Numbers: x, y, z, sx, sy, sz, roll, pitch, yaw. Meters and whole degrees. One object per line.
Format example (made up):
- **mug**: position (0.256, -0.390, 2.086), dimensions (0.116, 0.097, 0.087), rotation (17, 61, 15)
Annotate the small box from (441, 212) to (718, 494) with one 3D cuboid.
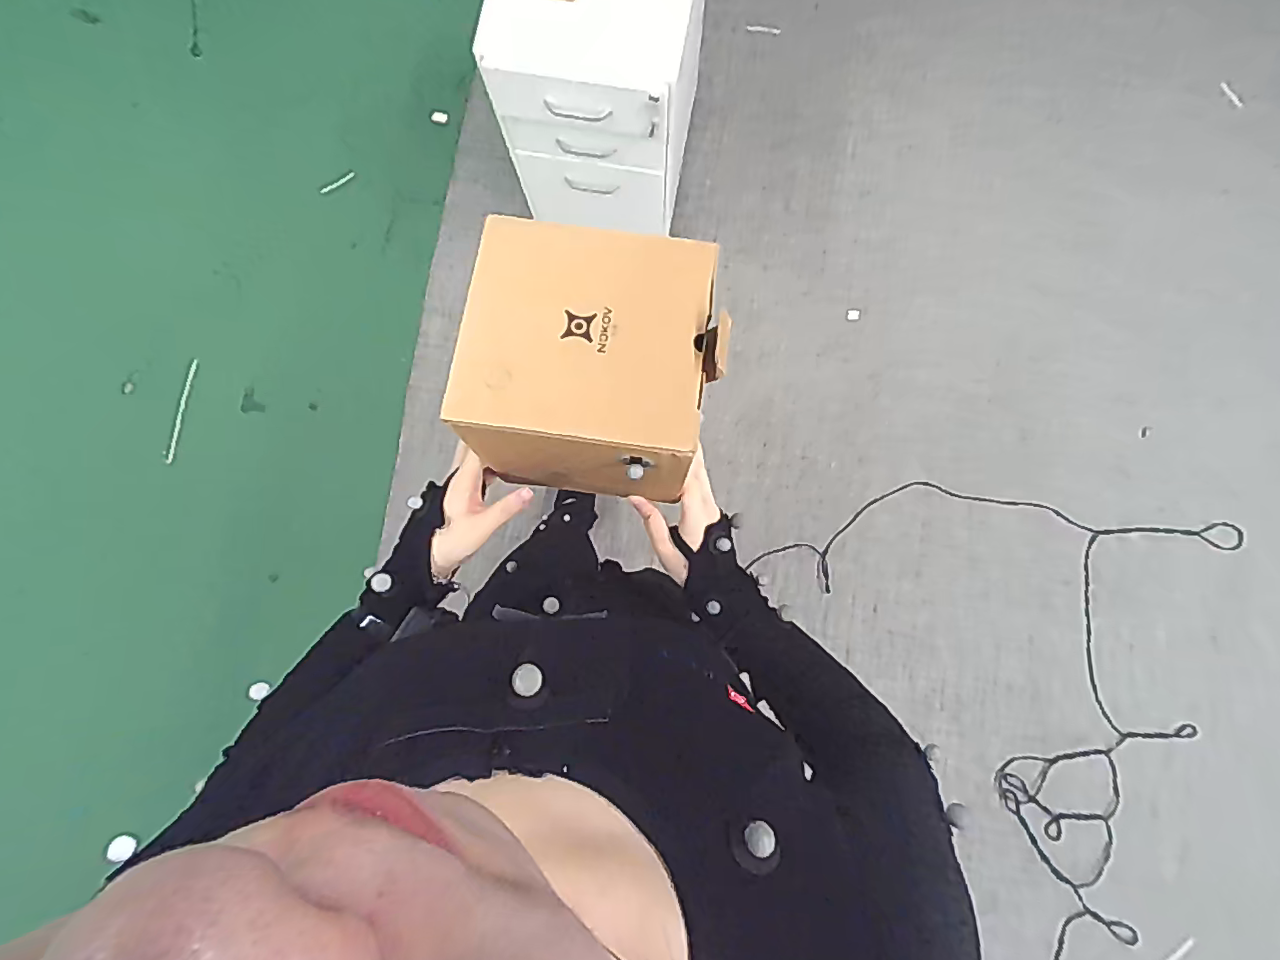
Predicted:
- **small box**: position (-0.039, -0.091, 0.459), dimensions (0.179, 0.176, 0.168), rotation (8, 76, 1)
